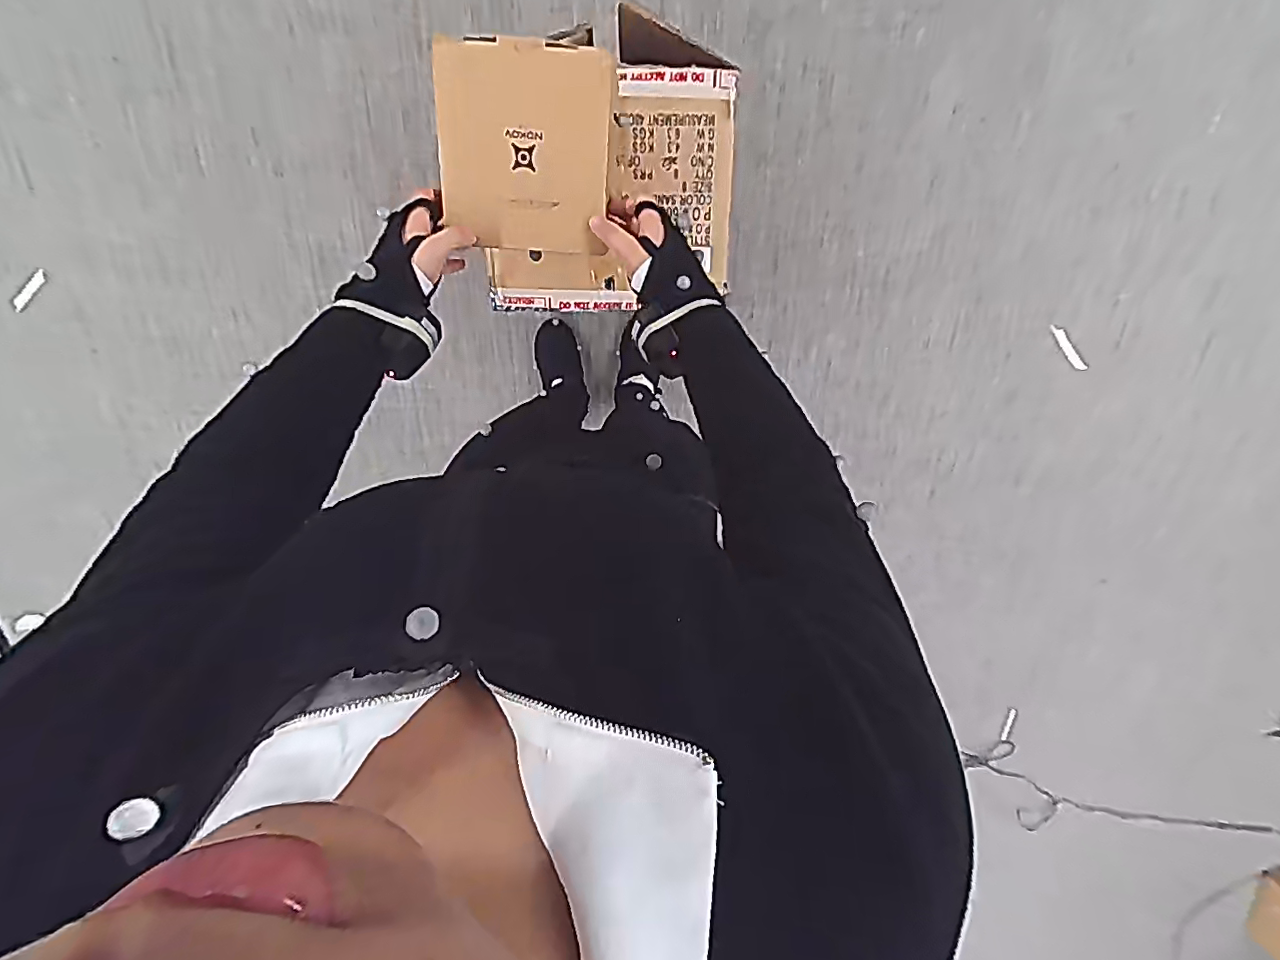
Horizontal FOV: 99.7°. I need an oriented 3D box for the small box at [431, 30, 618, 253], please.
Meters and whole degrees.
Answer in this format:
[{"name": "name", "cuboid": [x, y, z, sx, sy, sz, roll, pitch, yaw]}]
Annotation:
[{"name": "small box", "cuboid": [-0.111, -0.350, 0.590, 0.168, 0.176, 0.179, 3, 116, -1]}]
